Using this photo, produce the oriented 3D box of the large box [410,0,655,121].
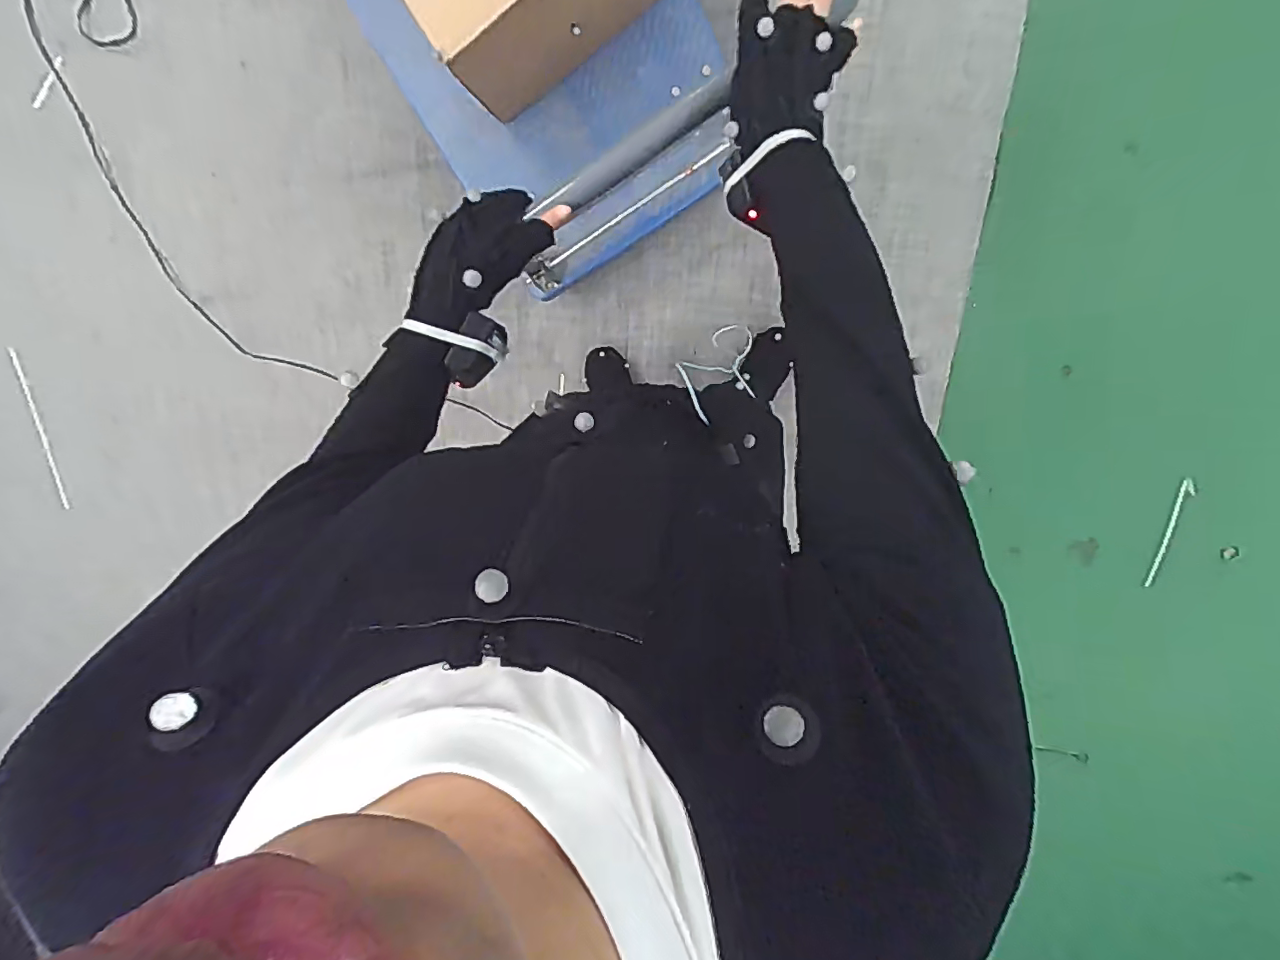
[{"bbox_3d":[-0.192,-0.903,0.888,0.408,0.320,0.320,-31,103,14],"label":"large box"}]
